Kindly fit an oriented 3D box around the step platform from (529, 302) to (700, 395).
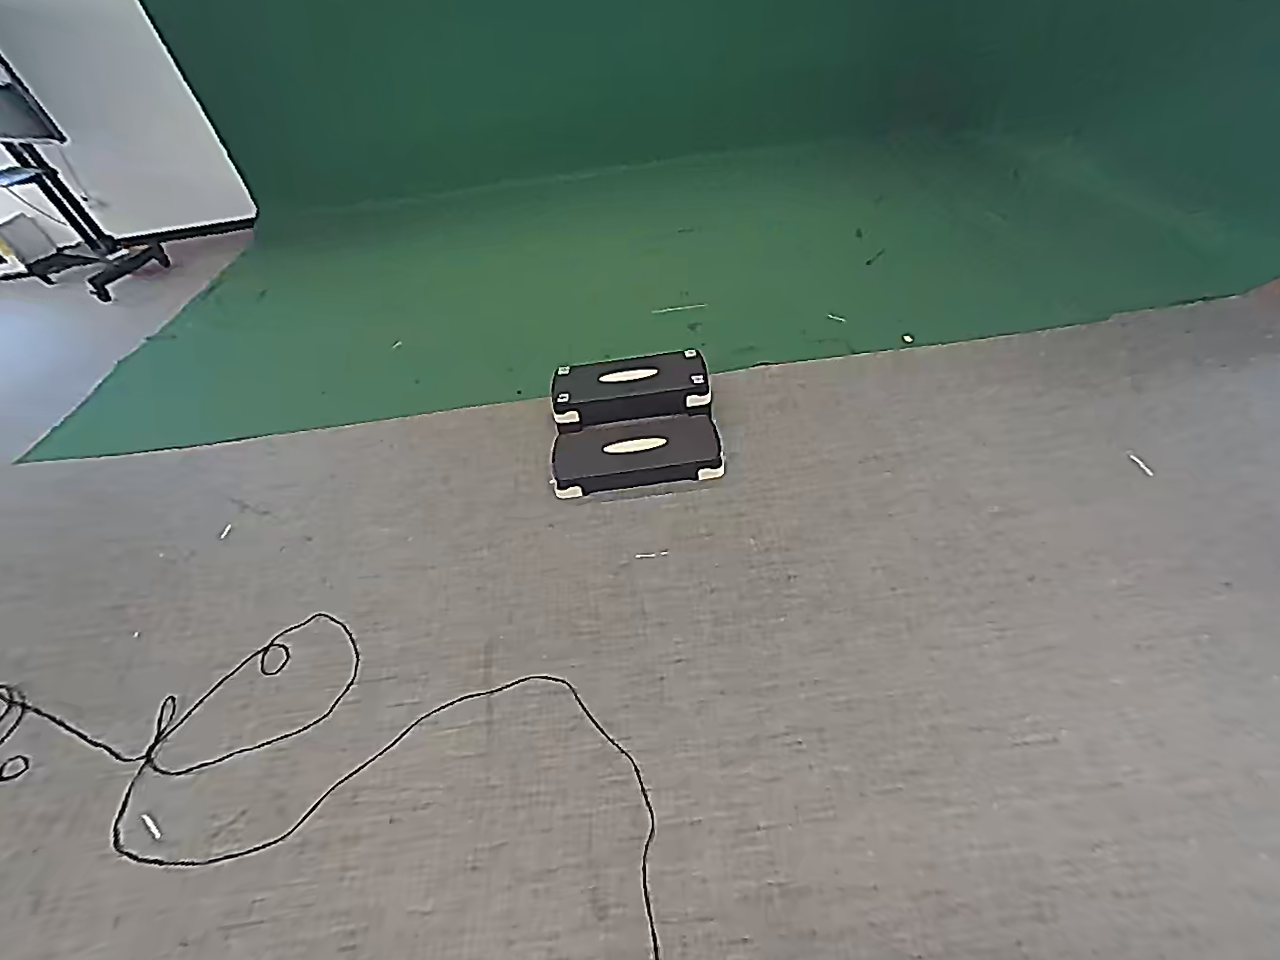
[{"bbox_3d":[-0.099,-0.542,2.225,0.684,0.204,0.286,-8,46,2],"label":"step platform"}]
